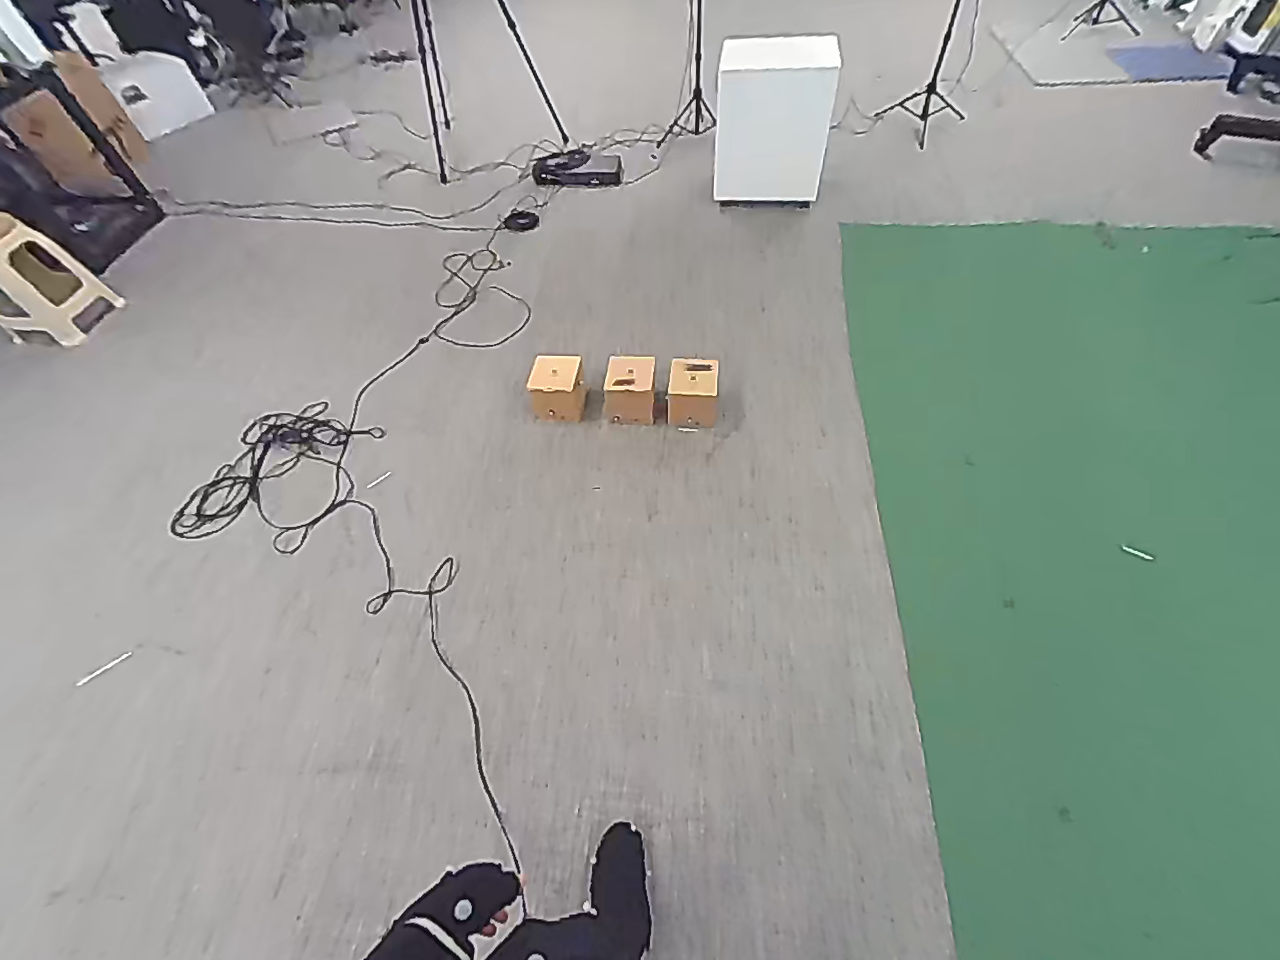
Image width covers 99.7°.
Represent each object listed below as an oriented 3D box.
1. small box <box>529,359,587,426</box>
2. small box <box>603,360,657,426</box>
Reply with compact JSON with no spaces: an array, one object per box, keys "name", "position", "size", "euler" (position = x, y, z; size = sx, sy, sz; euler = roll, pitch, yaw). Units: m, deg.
[{"name":"small box","position":[-0.294,-0.321,1.985],"size":[0.168,0.176,0.179],"euler":[3,54,7]},{"name":"small box","position":[-0.030,-0.313,1.953],"size":[0.168,0.176,0.179],"euler":[2,53,7]}]
